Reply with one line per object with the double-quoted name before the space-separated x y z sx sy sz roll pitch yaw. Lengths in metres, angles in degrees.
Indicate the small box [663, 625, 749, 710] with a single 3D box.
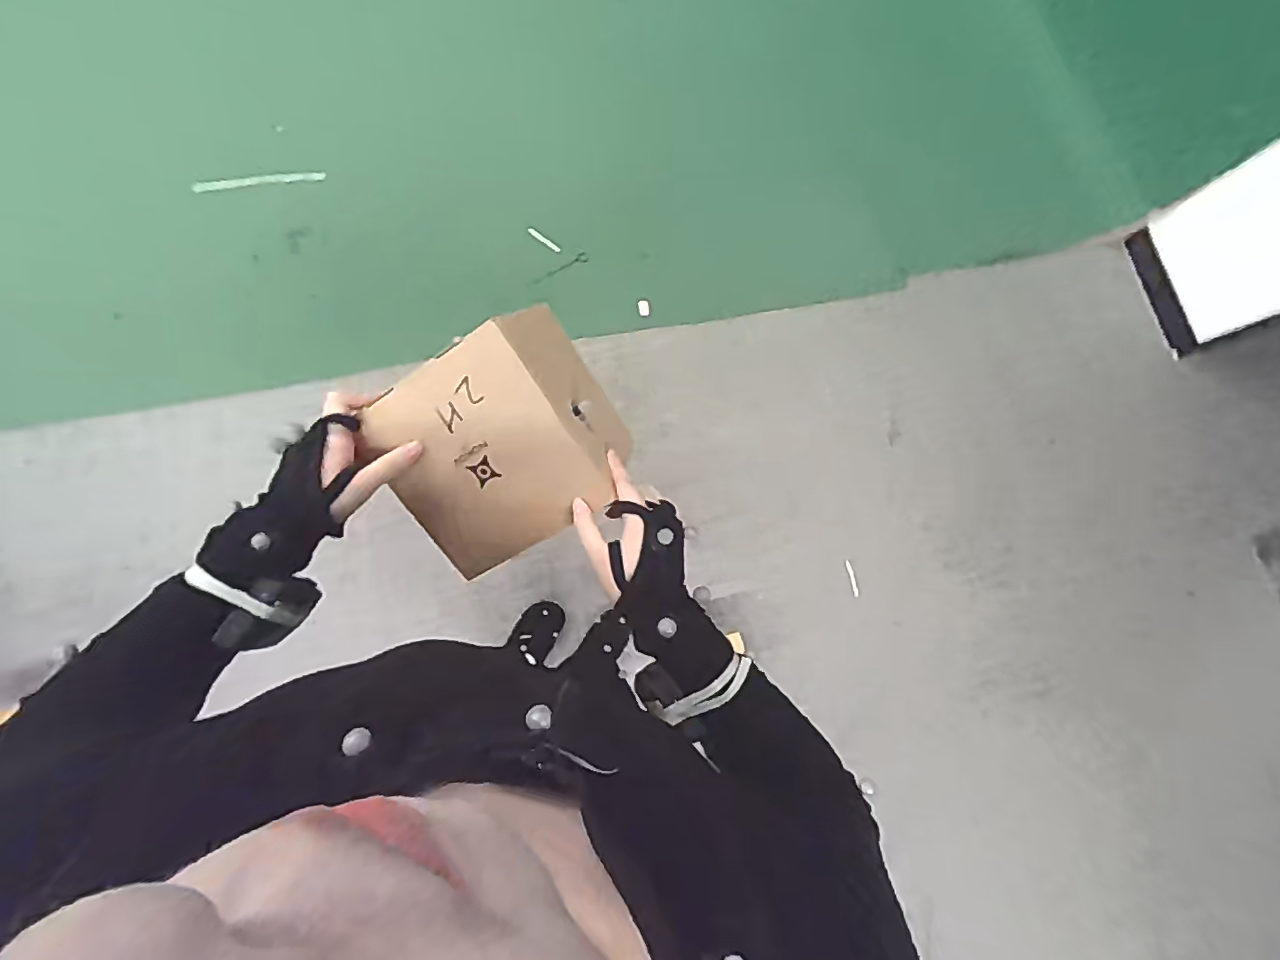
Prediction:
"small box" 0.165 0.489 1.431 0.179 0.176 0.168 -12 82 -10
